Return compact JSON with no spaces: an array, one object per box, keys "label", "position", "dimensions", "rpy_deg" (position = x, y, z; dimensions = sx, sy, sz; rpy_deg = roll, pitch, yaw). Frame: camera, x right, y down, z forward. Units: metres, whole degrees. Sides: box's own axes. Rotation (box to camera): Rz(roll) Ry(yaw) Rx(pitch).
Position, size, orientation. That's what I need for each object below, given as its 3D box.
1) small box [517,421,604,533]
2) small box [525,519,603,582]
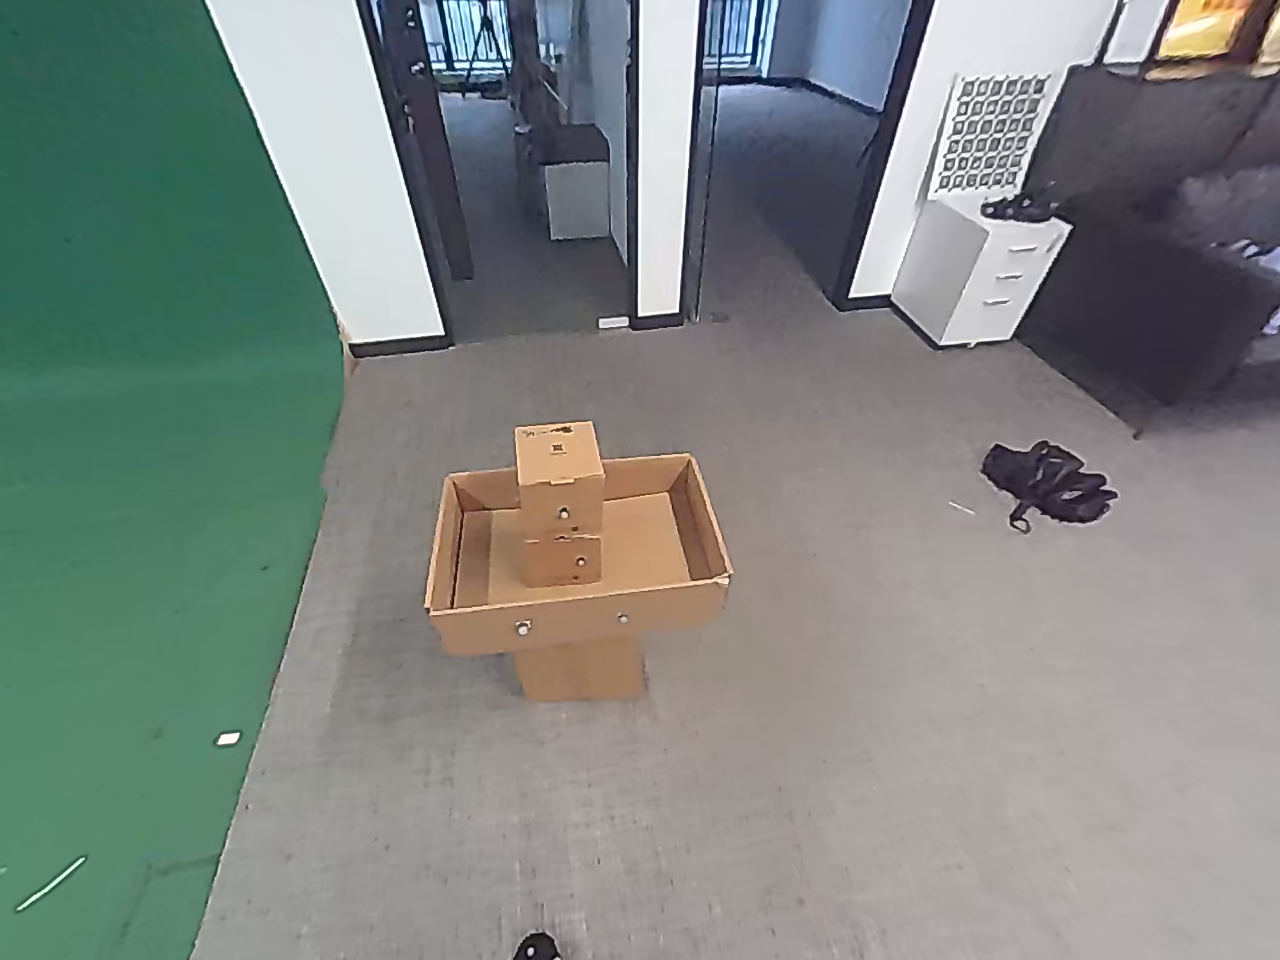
[{"label":"small box","position":[-0.166,-0.002,1.146],"dimensions":[0.168,0.176,0.179],"rpy_deg":[-5,45,-10]},{"label":"small box","position":[-0.175,0.122,1.254],"dimensions":[0.168,0.176,0.179],"rpy_deg":[-4,43,-9]}]
